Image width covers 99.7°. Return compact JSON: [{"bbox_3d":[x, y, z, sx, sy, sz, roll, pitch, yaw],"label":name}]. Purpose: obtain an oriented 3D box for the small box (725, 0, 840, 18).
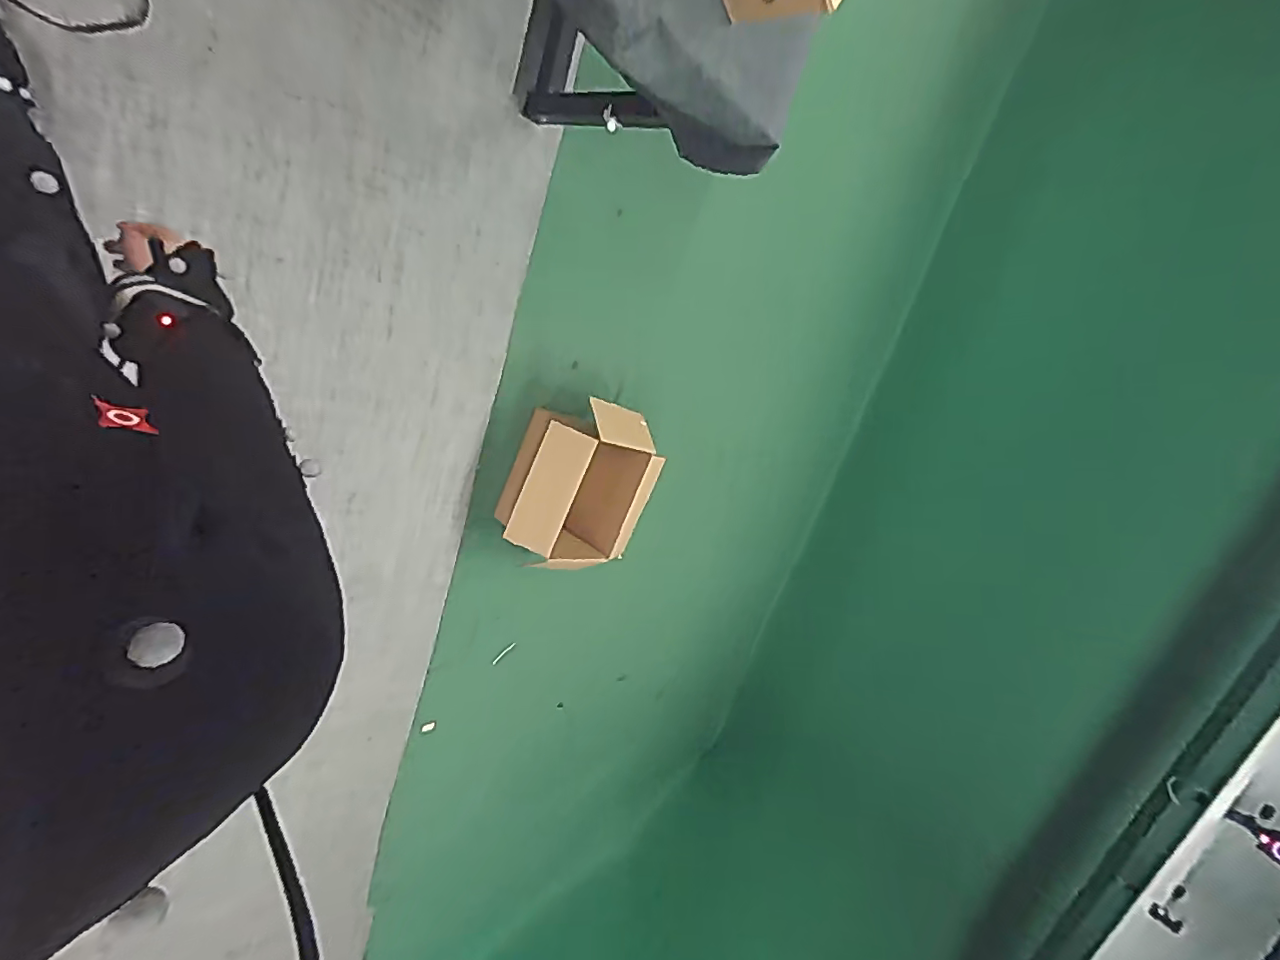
[{"bbox_3d":[0.194,-0.739,0.687,0.168,0.176,0.179,29,89,-56],"label":"small box"}]
